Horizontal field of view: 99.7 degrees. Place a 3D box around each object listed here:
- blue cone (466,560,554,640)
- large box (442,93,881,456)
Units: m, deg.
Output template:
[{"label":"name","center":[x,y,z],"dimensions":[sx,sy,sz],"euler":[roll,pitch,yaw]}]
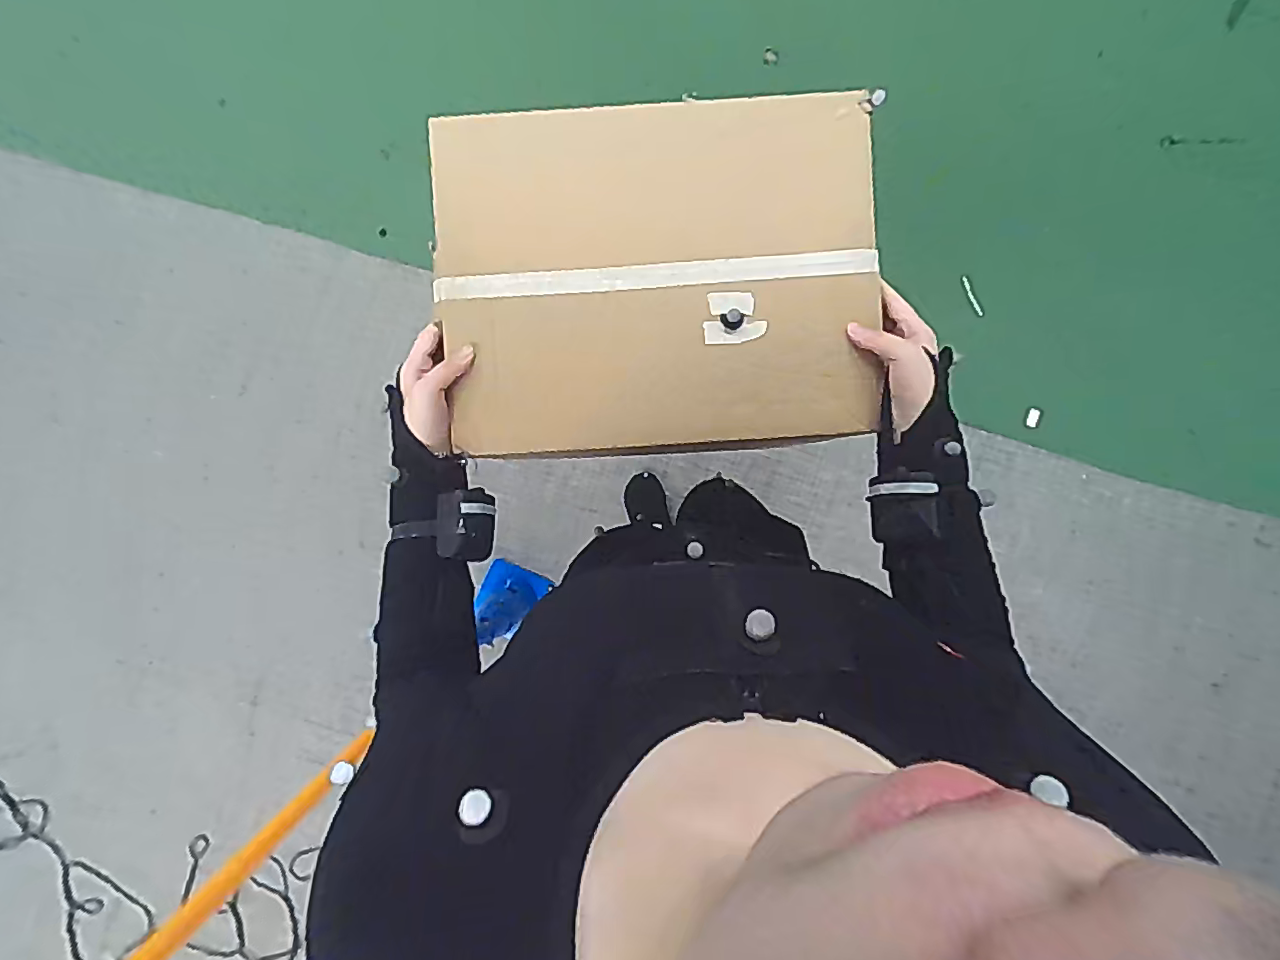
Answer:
[{"label":"blue cone","center":[-0.360,0.337,1.352],"dimensions":[0.193,0.380,0.192],"euler":[25,90,1]},{"label":"large box","center":[0.018,-0.200,0.654],"dimensions":[0.408,0.320,0.320],"euler":[-3,92,-1]}]
